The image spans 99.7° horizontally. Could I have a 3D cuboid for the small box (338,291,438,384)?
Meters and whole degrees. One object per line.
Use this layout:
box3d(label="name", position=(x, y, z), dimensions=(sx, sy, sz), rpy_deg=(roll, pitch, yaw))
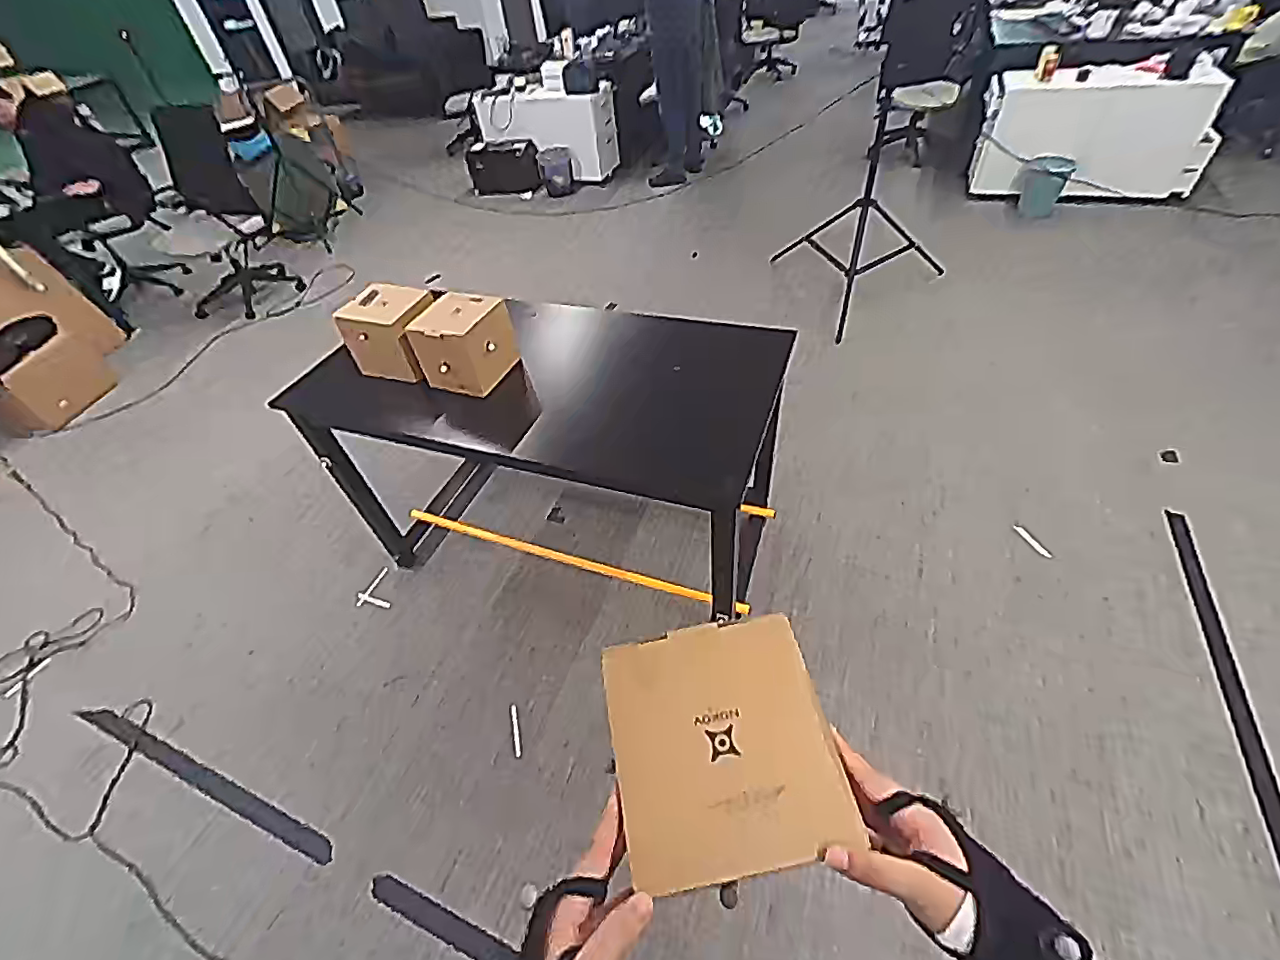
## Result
box3d(label="small box", position=(-0.618, -0.364, 1.388), dimensions=(0.179, 0.176, 0.168), rpy_deg=(11, 49, 16))

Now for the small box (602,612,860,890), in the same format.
box3d(label="small box", position=(0.064, 0.245, 0.484), dimensions=(0.168, 0.176, 0.179), rpy_deg=(-11, 54, -3))

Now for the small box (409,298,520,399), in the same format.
box3d(label="small box", position=(-0.417, -0.320, 1.322), dimensions=(0.168, 0.176, 0.179), rpy_deg=(13, 50, 19))
